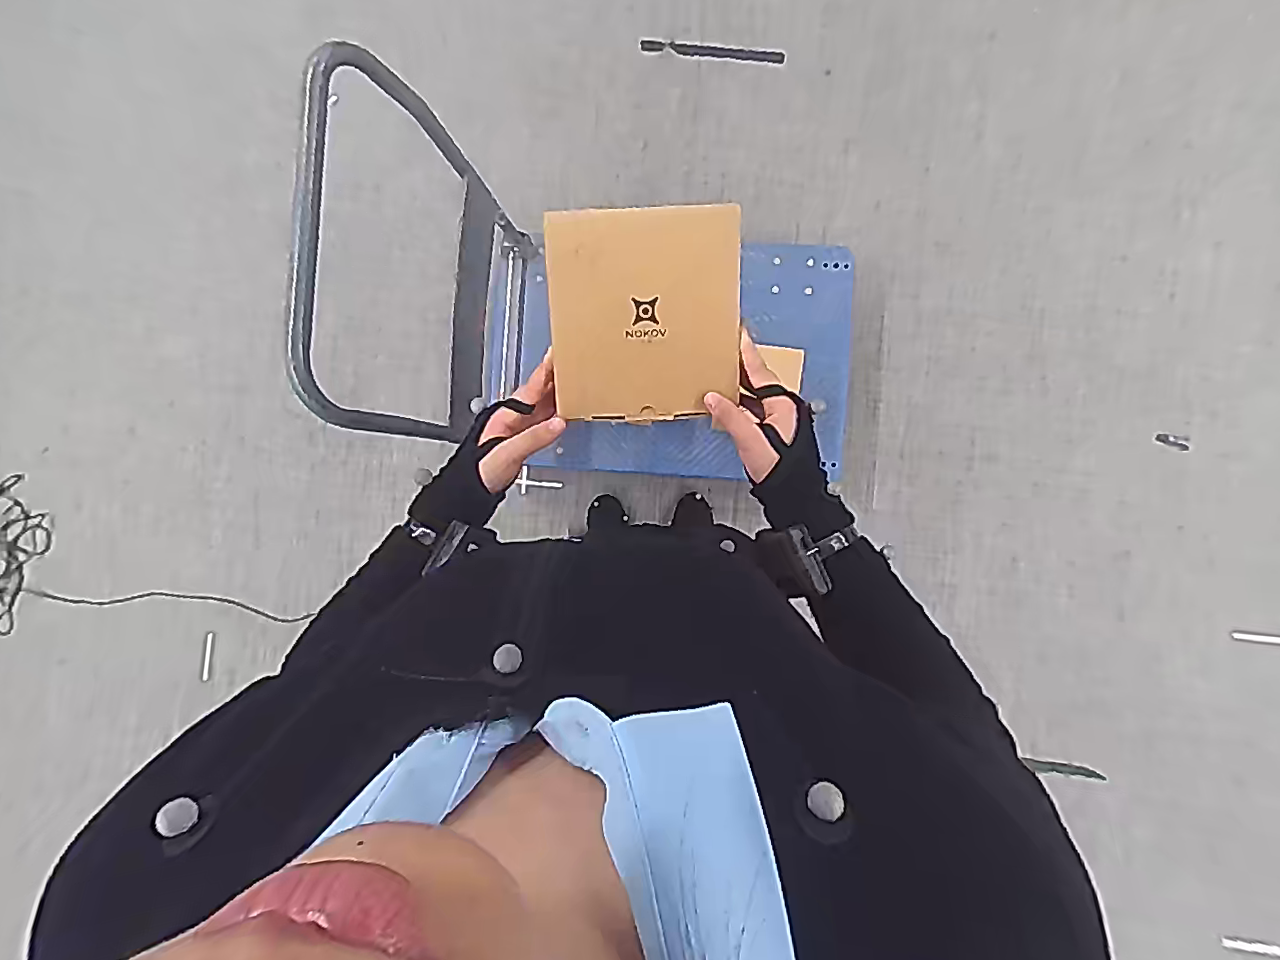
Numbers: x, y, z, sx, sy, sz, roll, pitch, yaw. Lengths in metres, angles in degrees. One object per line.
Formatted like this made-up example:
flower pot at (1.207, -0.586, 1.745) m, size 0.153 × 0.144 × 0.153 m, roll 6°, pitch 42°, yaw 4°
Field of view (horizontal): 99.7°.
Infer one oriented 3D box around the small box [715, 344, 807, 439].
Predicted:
small box at (0.265, -0.195, 1.218) m, size 0.168 × 0.176 × 0.179 m, roll 8°, pitch 90°, yaw 4°

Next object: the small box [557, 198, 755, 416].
small box at (0.013, -0.161, 0.535) m, size 0.168 × 0.176 × 0.179 m, roll -2°, pitch 104°, yaw 0°
